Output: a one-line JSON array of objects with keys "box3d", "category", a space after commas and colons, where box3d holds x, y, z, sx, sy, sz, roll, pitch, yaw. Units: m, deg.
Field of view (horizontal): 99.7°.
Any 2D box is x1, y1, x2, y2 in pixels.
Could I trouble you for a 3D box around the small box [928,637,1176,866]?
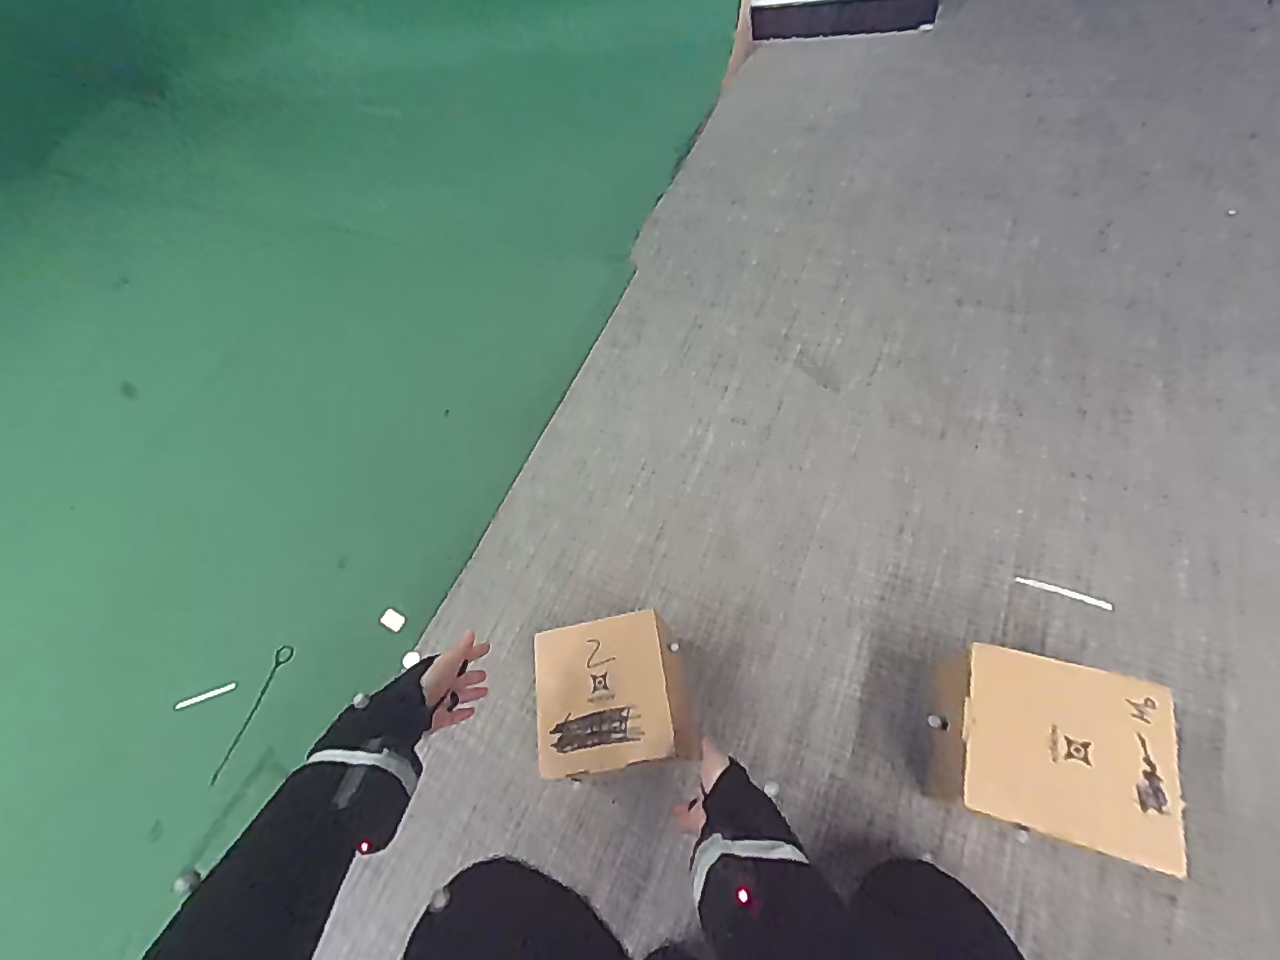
[{"box3d": [0.432, 0.293, 0.599, 0.179, 0.176, 0.168, 9, 65, 21], "category": "small box"}]
